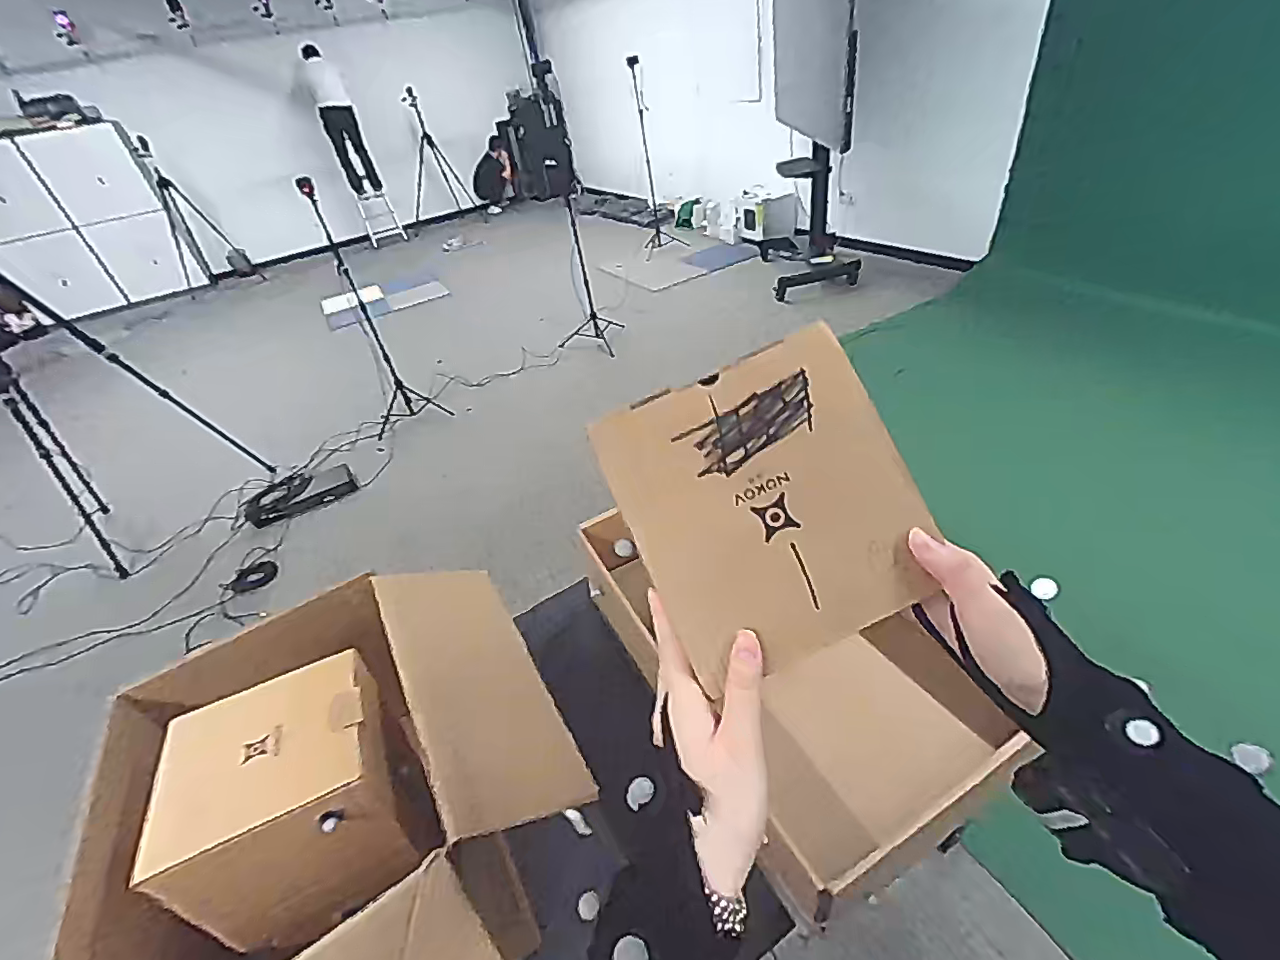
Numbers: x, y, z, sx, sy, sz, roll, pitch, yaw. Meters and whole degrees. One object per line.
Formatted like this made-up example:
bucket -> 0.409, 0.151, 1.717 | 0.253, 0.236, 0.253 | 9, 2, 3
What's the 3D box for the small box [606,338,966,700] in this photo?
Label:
small box -> 0.084, 0.030, 0.404 | 0.168, 0.176, 0.179 | -25, 83, -3
